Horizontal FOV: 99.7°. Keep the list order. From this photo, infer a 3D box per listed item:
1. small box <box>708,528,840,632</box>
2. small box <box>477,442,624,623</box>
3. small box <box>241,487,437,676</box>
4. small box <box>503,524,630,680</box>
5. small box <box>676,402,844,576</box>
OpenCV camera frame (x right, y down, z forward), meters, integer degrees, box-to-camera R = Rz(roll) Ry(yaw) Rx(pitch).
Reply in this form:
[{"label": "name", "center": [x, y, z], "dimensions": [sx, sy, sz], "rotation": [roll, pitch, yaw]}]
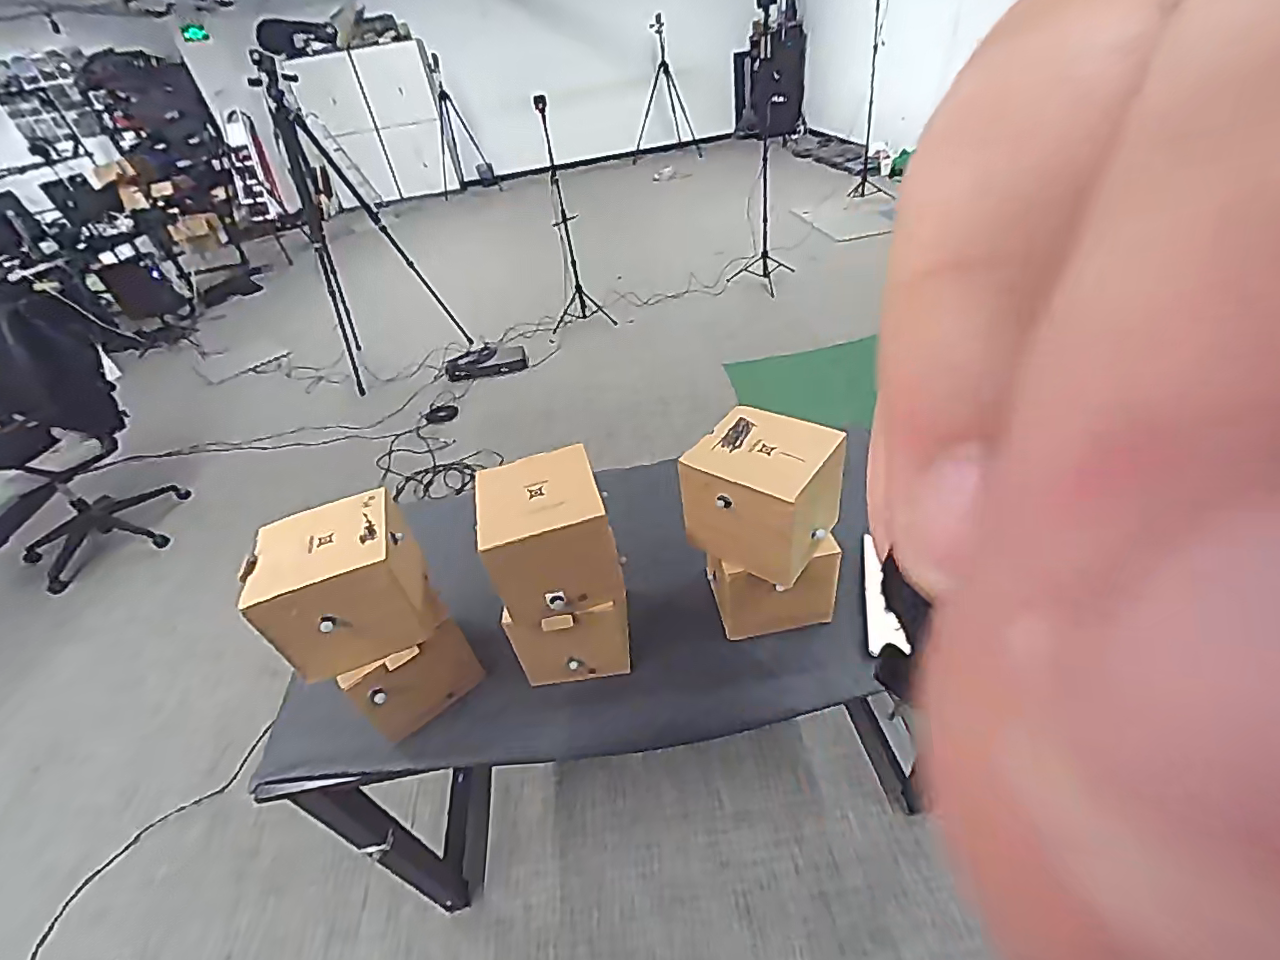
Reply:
[{"label": "small box", "center": [0.212, 0.129, 0.905], "dimensions": [0.179, 0.176, 0.168], "rotation": [-12, 38, 0]}, {"label": "small box", "center": [-0.131, 0.075, 0.790], "dimensions": [0.168, 0.176, 0.179], "rotation": [-17, 39, -6]}, {"label": "small box", "center": [-0.411, 0.144, 0.769], "dimensions": [0.179, 0.176, 0.168], "rotation": [-21, 40, -11]}, {"label": "small box", "center": [-0.112, 0.200, 0.893], "dimensions": [0.168, 0.176, 0.179], "rotation": [-10, 39, 3]}, {"label": "small box", "center": [0.176, 0.012, 0.795], "dimensions": [0.179, 0.176, 0.168], "rotation": [22, 50, 34]}]
